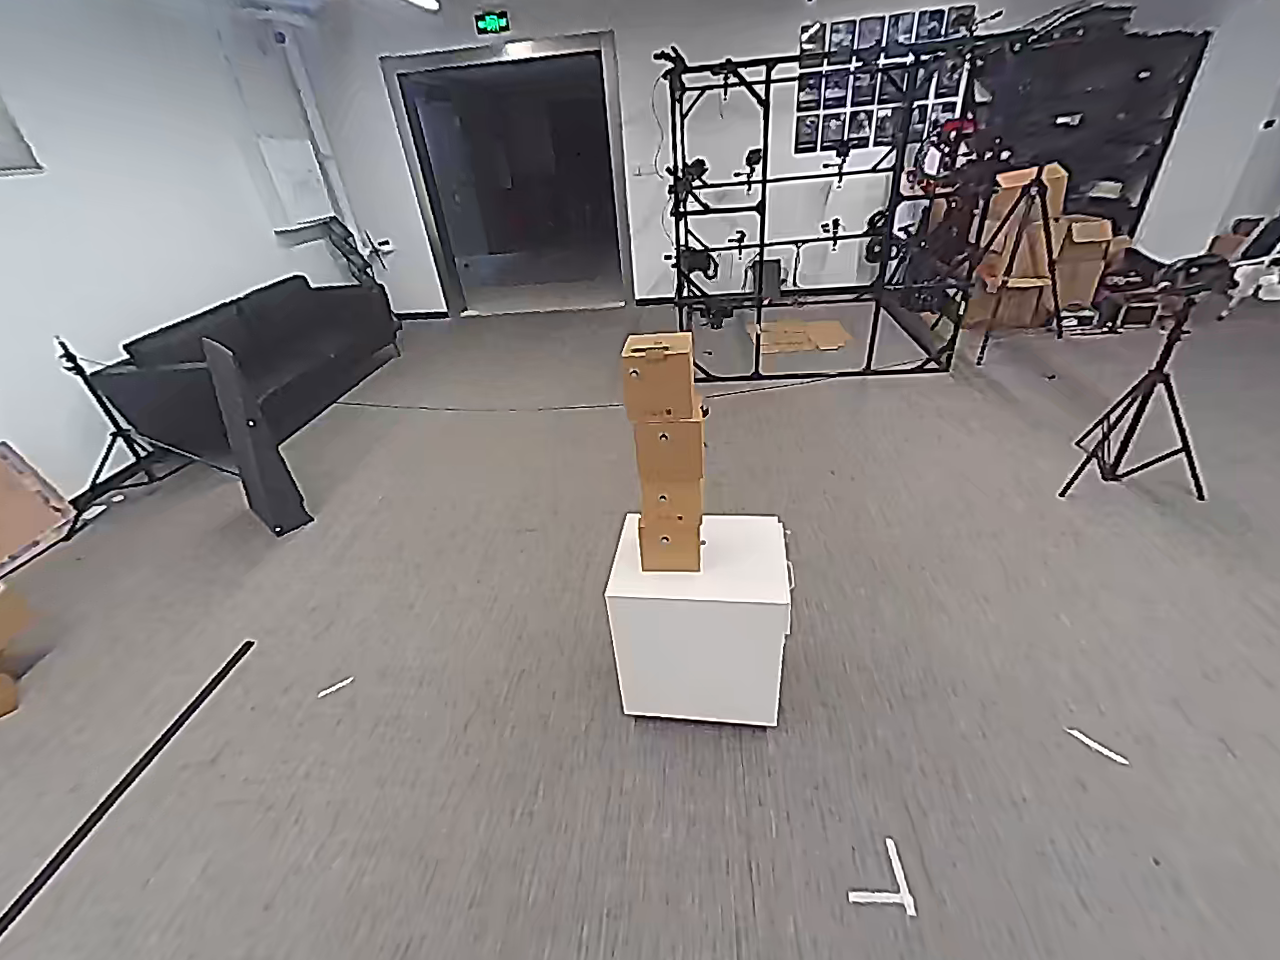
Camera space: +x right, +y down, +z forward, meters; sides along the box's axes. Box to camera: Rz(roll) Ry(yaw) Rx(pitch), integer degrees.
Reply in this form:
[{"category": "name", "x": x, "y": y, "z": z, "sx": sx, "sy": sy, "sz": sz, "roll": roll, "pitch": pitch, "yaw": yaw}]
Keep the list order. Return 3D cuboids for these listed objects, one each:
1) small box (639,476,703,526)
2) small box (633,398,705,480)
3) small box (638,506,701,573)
[{"category": "small box", "x": 0.095, "y": 0.021, "z": 1.553, "sx": 0.168, "sy": 0.176, "sz": 0.179, "roll": 0, "pitch": 32, "yaw": 8}, {"category": "small box", "x": 0.082, "y": -0.109, "z": 1.450, "sx": 0.179, "sy": 0.176, "sz": 0.168, "roll": 0, "pitch": 33, "yaw": 8}, {"category": "small box", "x": 0.093, "y": 0.165, "z": 1.629, "sx": 0.179, "sy": 0.176, "sz": 0.168, "roll": 0, "pitch": 33, "yaw": 7}]
